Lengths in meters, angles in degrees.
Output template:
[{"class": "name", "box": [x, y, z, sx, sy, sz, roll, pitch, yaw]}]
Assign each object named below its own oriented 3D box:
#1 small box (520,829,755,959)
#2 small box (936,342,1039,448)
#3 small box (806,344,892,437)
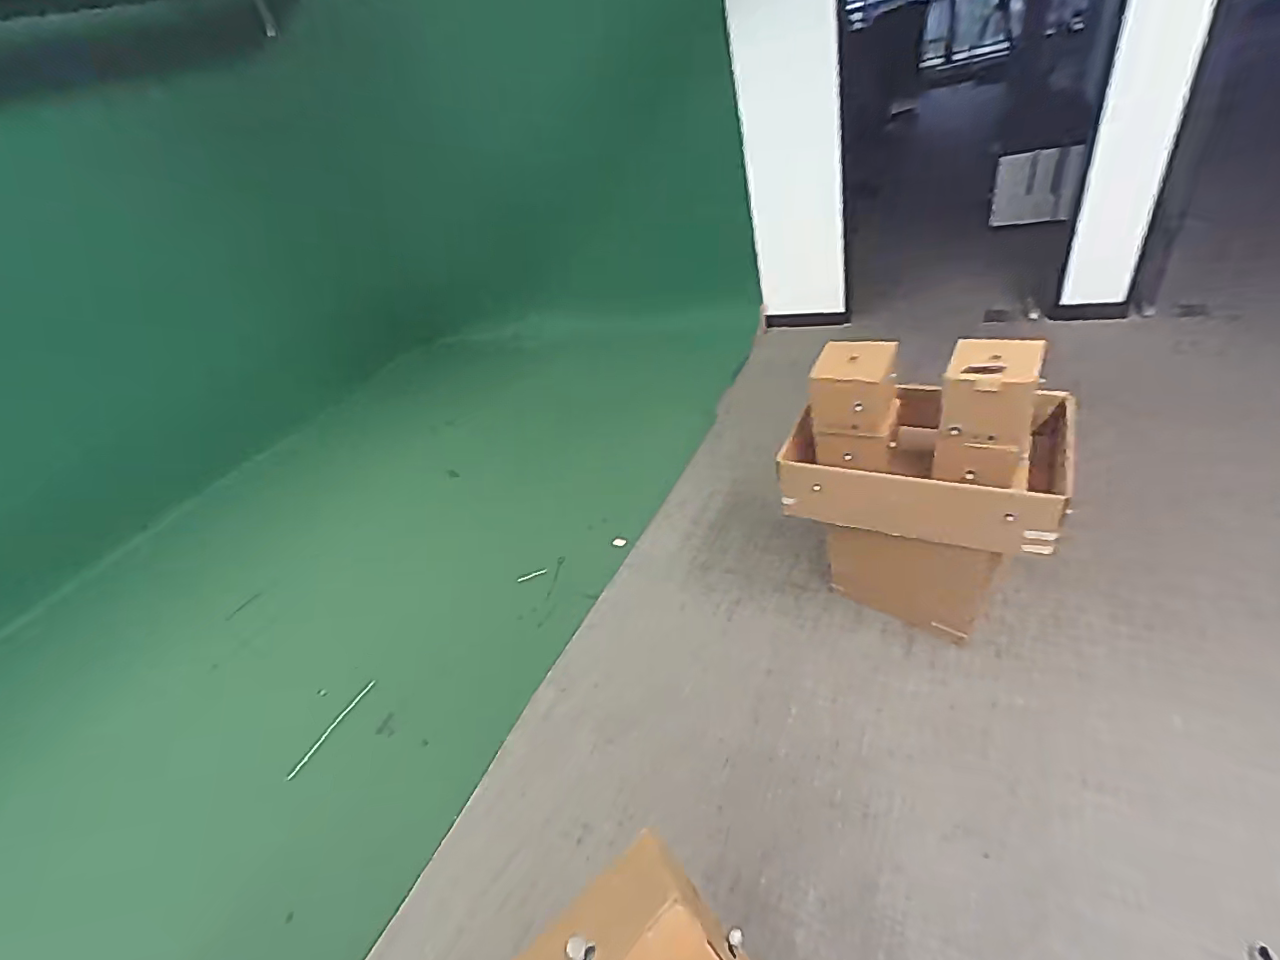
[{"class": "small box", "box": [0.006, 0.413, 0.406, 0.179, 0.176, 0.168, -36, 79, -17]}, {"class": "small box", "box": [0.779, -0.193, 1.222, 0.168, 0.176, 0.179, 12, 46, 33]}, {"class": "small box", "box": [0.531, -0.226, 1.365, 0.168, 0.176, 0.179, 10, 46, 32]}]
